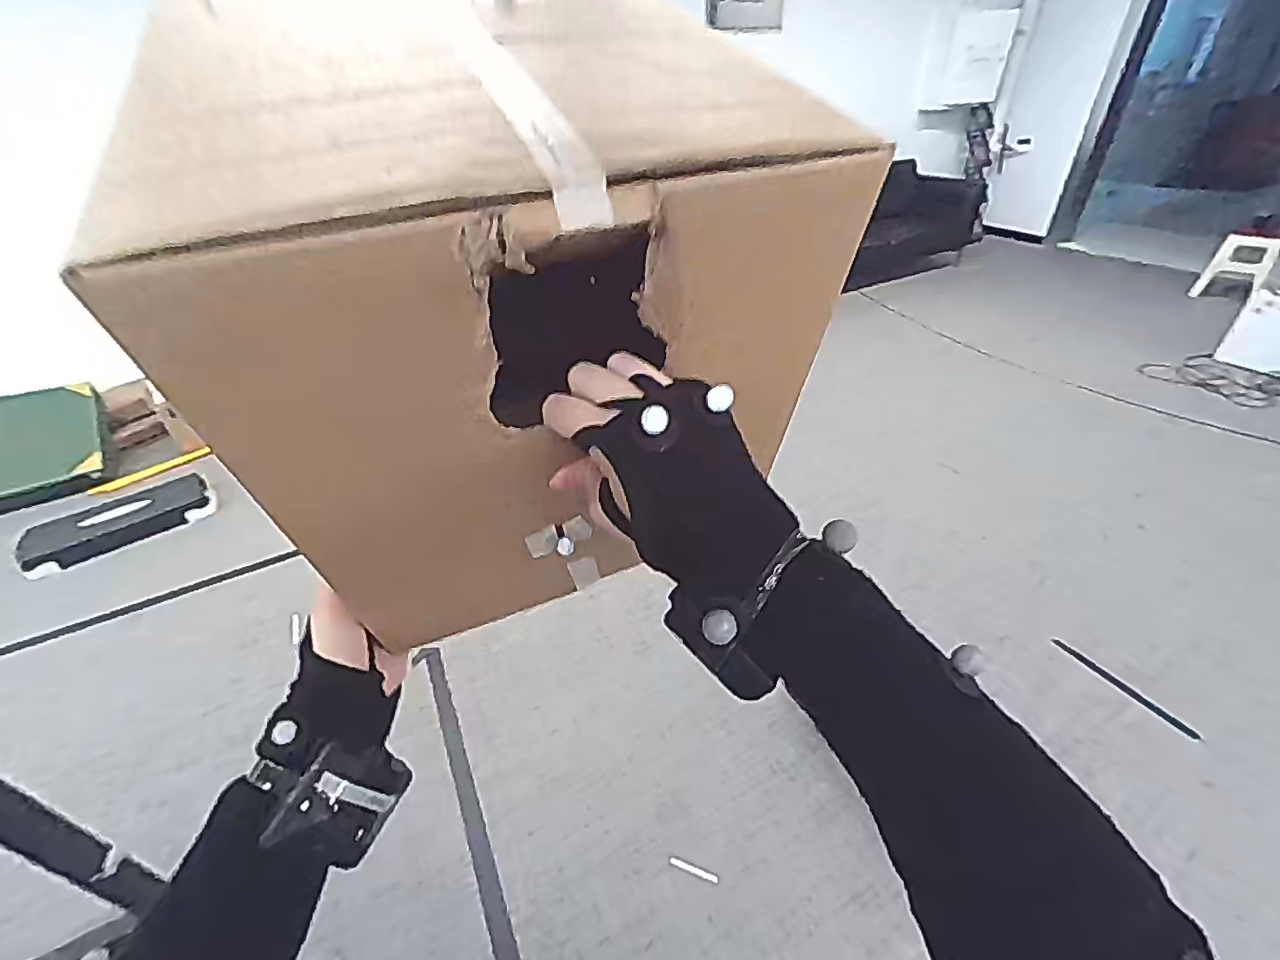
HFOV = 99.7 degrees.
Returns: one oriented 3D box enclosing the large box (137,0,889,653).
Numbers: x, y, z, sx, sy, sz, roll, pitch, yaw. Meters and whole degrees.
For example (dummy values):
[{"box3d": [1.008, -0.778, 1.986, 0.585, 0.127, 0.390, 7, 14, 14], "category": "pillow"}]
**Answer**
[{"box3d": [-0.103, -0.146, 0.436, 0.320, 0.320, 0.408, -17, 53, -17], "category": "large box"}]
